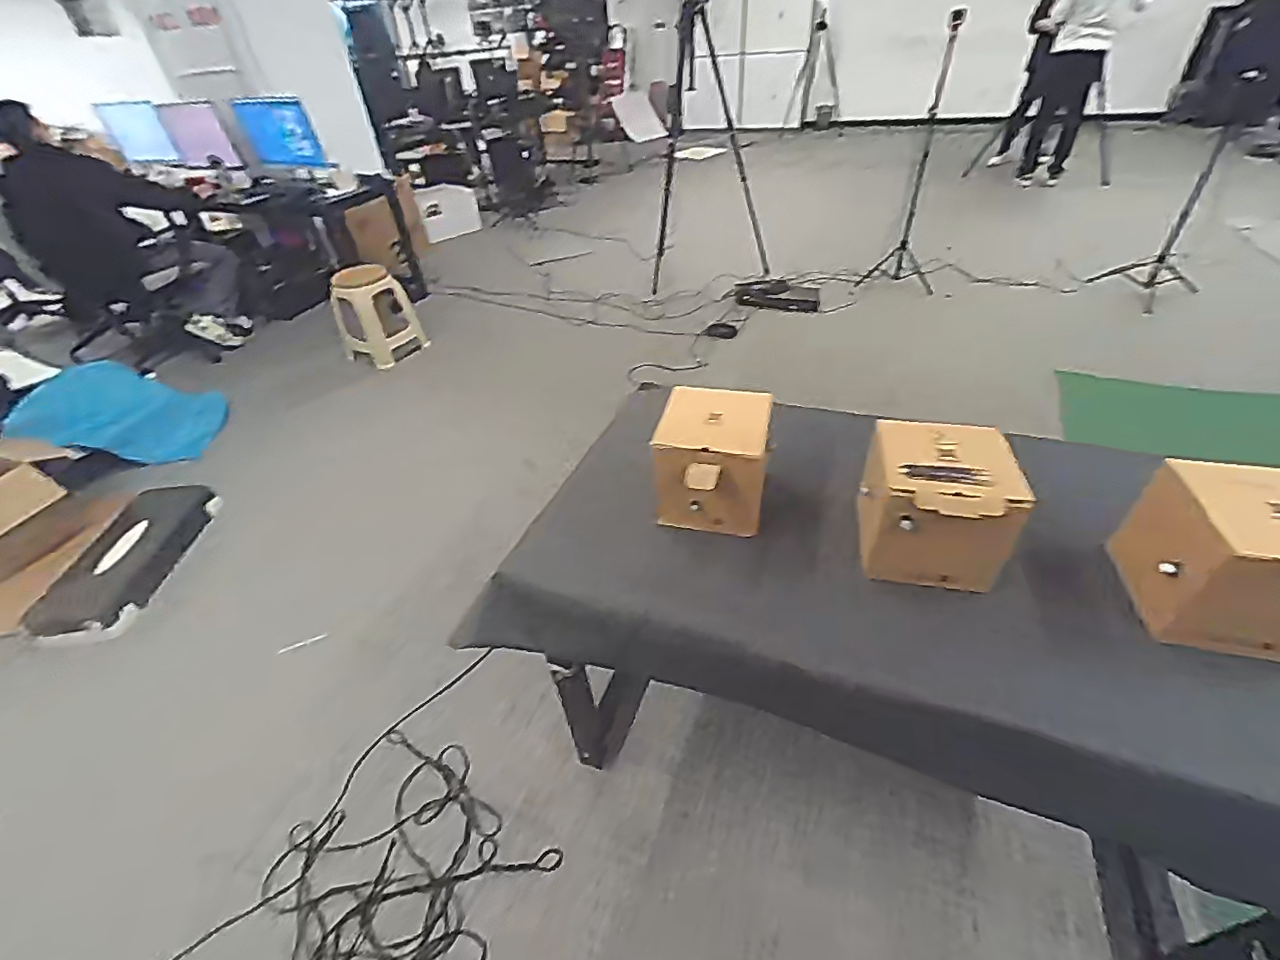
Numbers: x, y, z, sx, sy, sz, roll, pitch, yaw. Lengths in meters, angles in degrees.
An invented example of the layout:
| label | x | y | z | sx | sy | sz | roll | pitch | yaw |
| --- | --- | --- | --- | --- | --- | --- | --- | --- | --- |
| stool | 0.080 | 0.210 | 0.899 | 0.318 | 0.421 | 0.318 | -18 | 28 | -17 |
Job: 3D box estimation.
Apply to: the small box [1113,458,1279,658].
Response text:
| label | x | y | z | sx | sy | sz | roll | pitch | yaw |
| --- | --- | --- | --- | --- | --- | --- | --- | --- | --- |
| small box | 0.747 | 0.097 | 0.670 | 0.168 | 0.176 | 0.179 | 8 | 40 | 13 |

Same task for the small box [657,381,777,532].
| label | x | y | z | sx | sy | sz | roll | pitch | yaw |
| --- | --- | --- | --- | --- | --- | --- | --- | --- | --- |
| small box | 0.128 | -0.042 | 0.896 | 0.168 | 0.176 | 0.179 | 8 | 42 | 14 |
